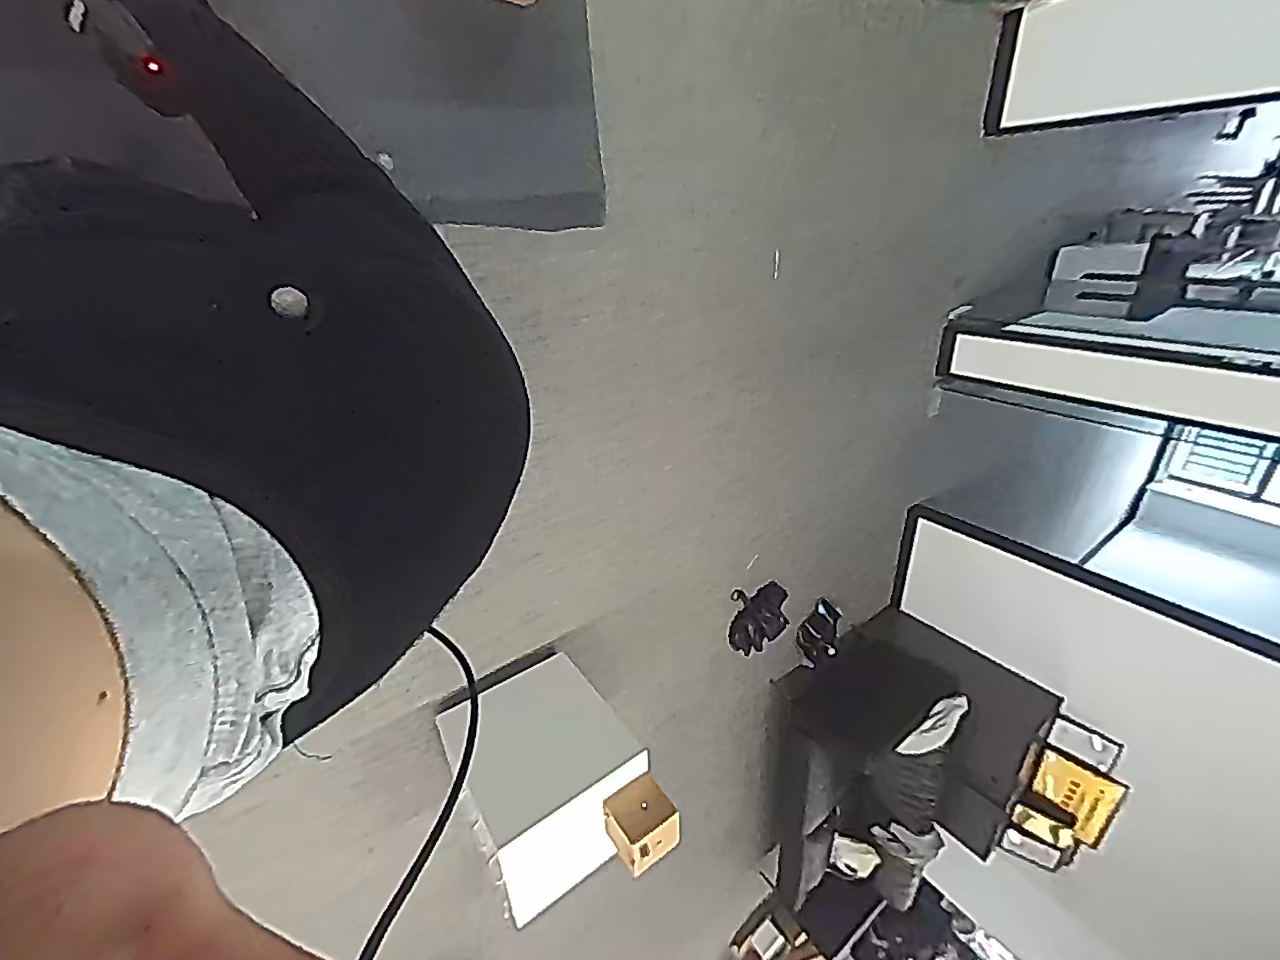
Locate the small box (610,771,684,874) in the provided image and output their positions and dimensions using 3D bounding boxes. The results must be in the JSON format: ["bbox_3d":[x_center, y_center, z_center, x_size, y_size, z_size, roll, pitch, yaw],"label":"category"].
[{"bbox_3d":[0.017,1.064,1.693,0.179,0.176,0.168,-20,122,-30],"label":"small box"}]
